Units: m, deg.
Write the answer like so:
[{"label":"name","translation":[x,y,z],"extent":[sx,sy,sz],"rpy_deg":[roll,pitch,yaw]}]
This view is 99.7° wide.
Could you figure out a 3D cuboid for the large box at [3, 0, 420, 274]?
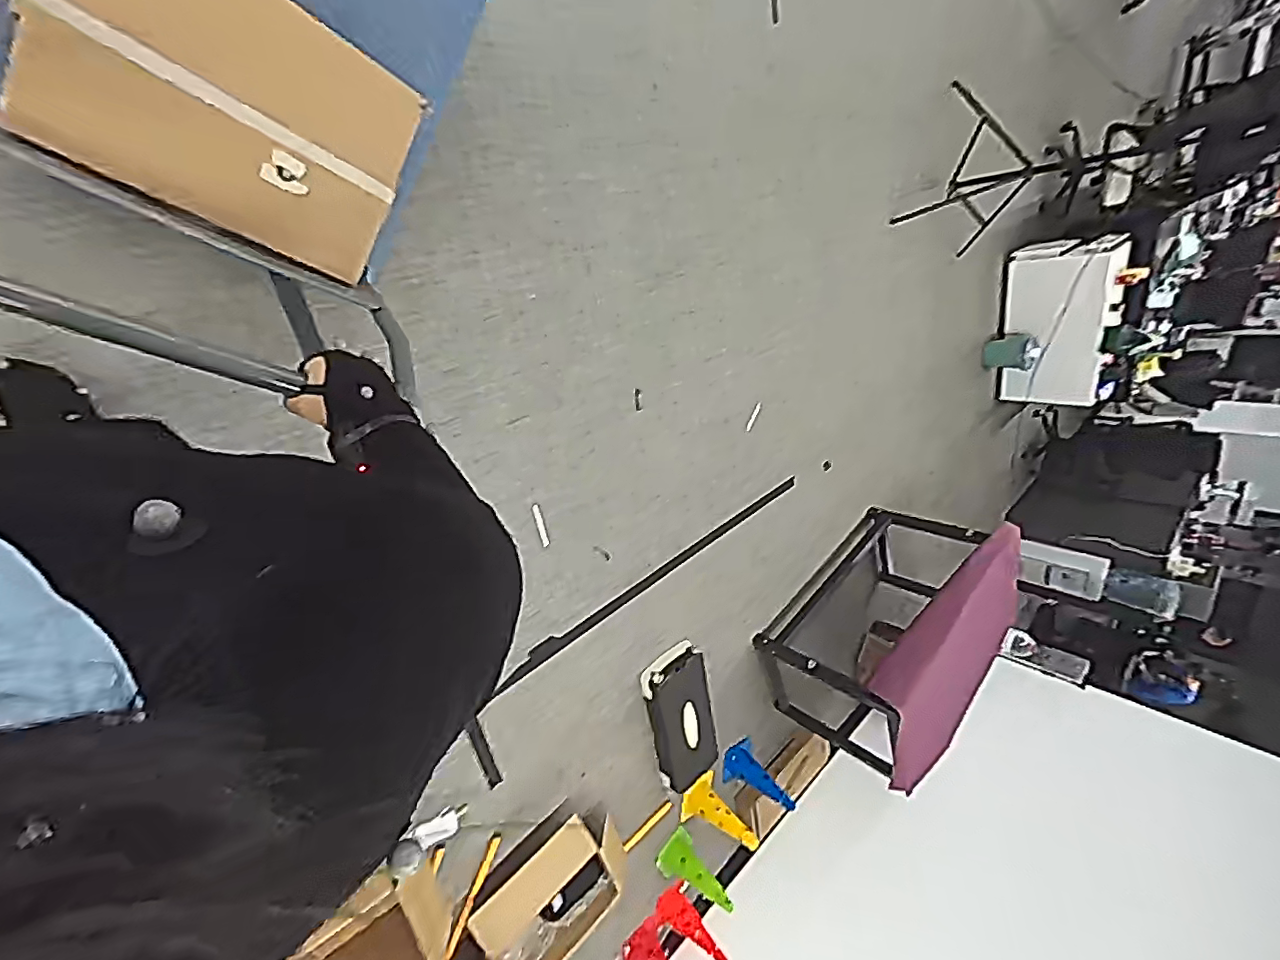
[{"label":"large box","translation":[-0.637,-0.584,0.854],"extent":[0.408,0.320,0.320],"rpy_deg":[19,104,-43]}]
